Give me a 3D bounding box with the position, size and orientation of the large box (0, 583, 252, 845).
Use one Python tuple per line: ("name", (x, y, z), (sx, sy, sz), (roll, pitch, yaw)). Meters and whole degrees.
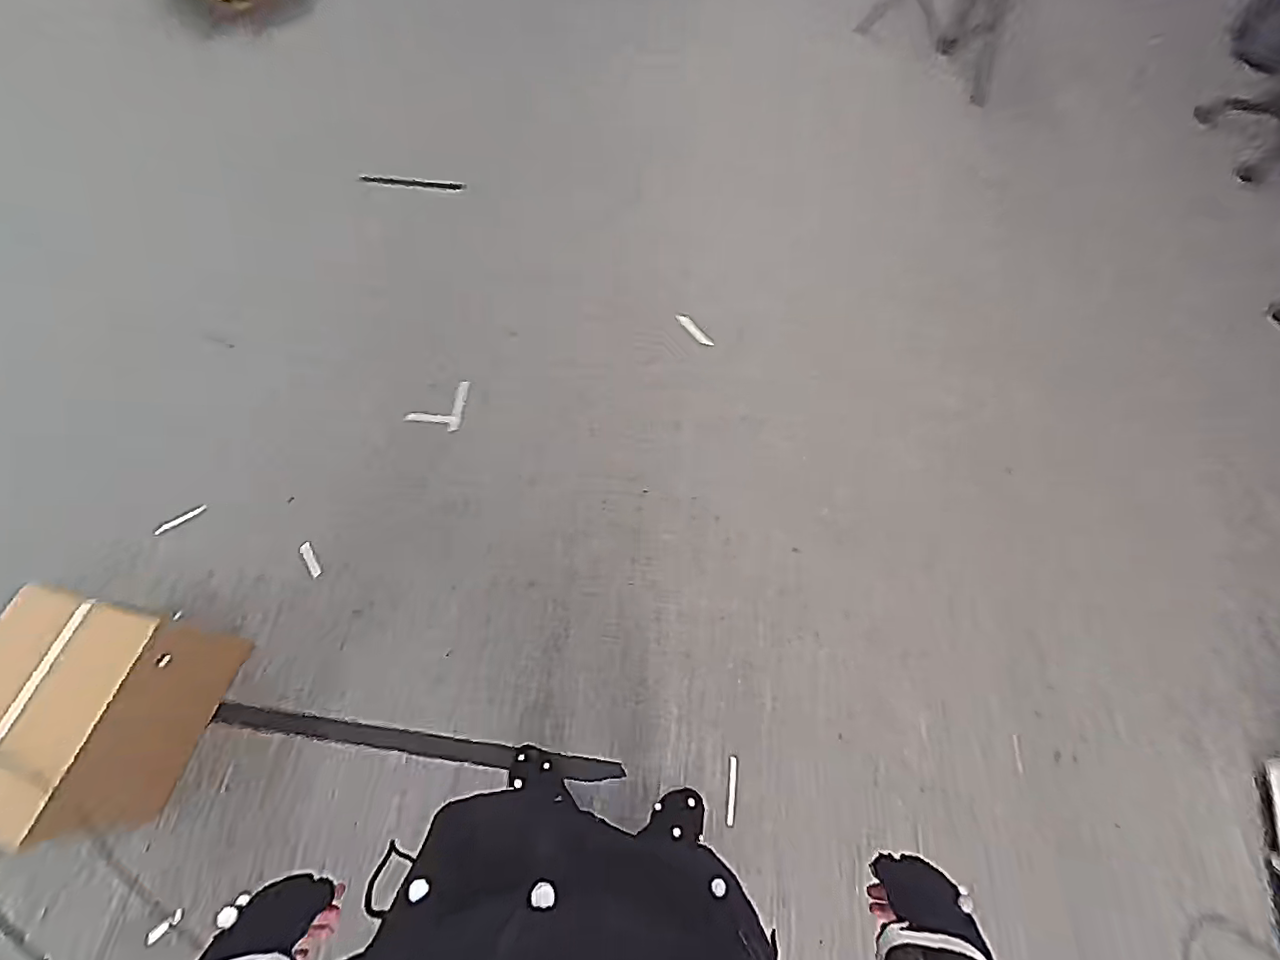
("large box", (-1.156, 0.479, 1.156), (0.320, 0.320, 0.408), (15, 66, 5))
